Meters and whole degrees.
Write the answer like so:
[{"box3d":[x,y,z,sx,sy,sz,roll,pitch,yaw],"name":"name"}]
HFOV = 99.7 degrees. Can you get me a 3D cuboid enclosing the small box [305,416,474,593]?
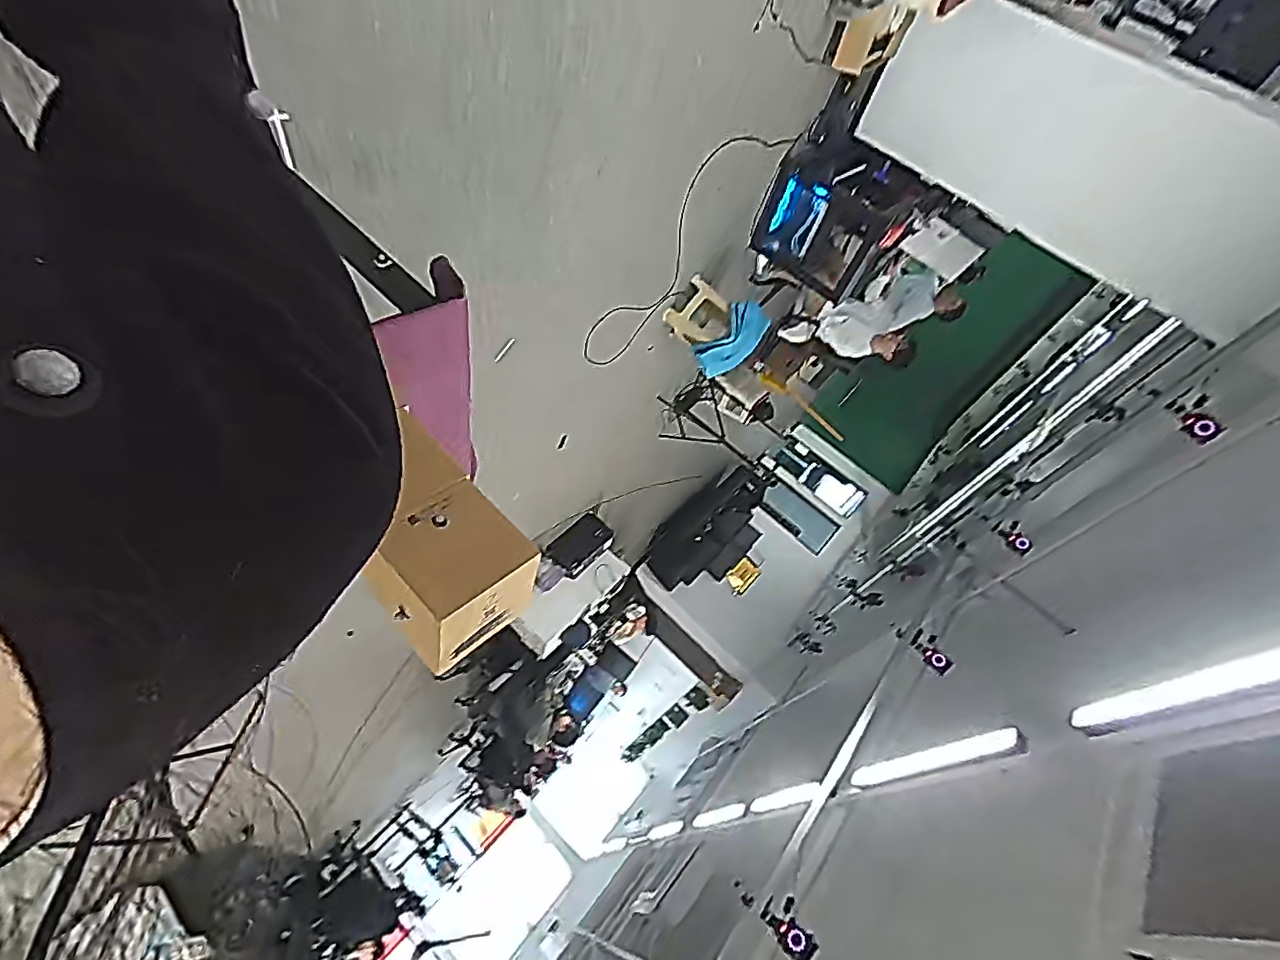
[{"box3d":[-0.381,0.034,0.836,0.168,0.176,0.179,-36,159,-38],"name":"small box"}]
